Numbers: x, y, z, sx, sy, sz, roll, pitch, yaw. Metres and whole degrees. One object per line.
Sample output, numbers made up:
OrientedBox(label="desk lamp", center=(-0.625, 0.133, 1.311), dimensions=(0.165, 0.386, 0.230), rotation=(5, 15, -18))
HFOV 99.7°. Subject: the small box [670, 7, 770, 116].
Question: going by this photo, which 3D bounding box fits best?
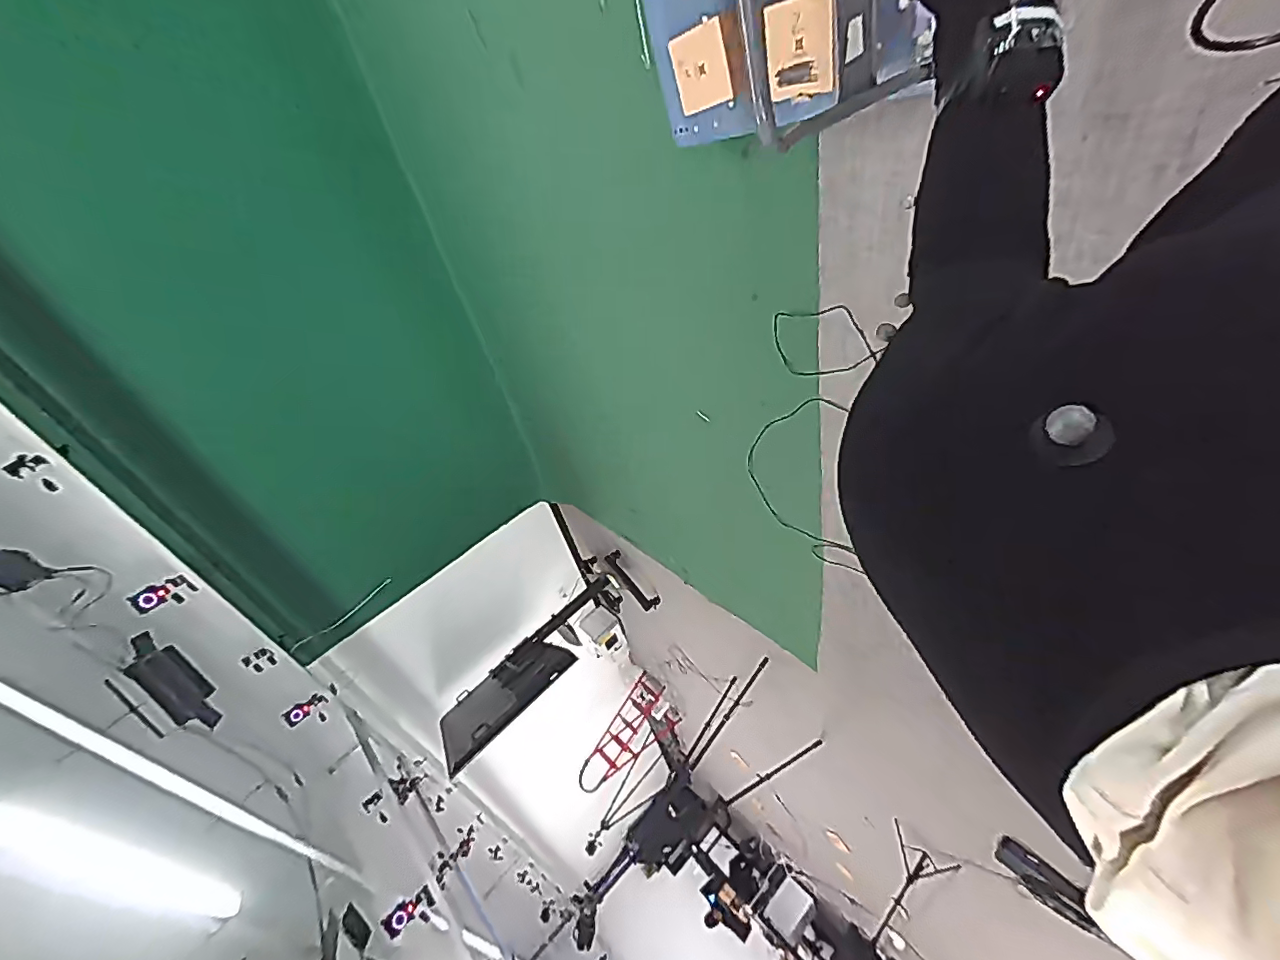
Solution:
OrientedBox(label="small box", center=(0.212, -1.063, 1.378), dimensions=(0.179, 0.176, 0.168), rotation=(20, 140, 48))
